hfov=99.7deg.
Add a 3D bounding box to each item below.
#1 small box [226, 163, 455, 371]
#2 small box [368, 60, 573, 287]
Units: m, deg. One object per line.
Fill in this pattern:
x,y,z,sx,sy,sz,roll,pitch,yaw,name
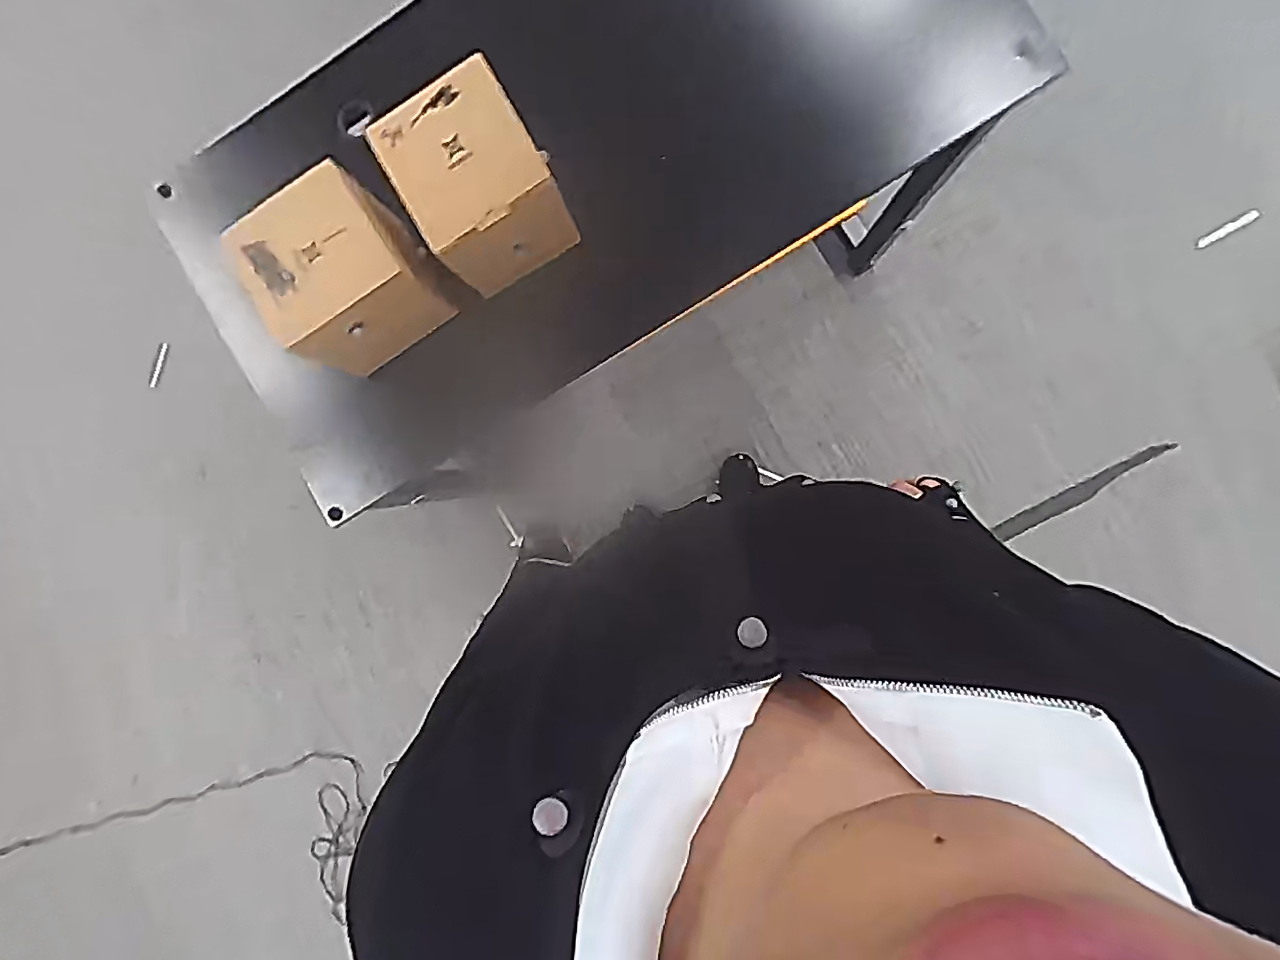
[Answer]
-0.390,-0.270,0.734,0.179,0.176,0.168,-33,88,4,small box
-0.207,-0.381,0.715,0.168,0.176,0.179,-30,89,4,small box
